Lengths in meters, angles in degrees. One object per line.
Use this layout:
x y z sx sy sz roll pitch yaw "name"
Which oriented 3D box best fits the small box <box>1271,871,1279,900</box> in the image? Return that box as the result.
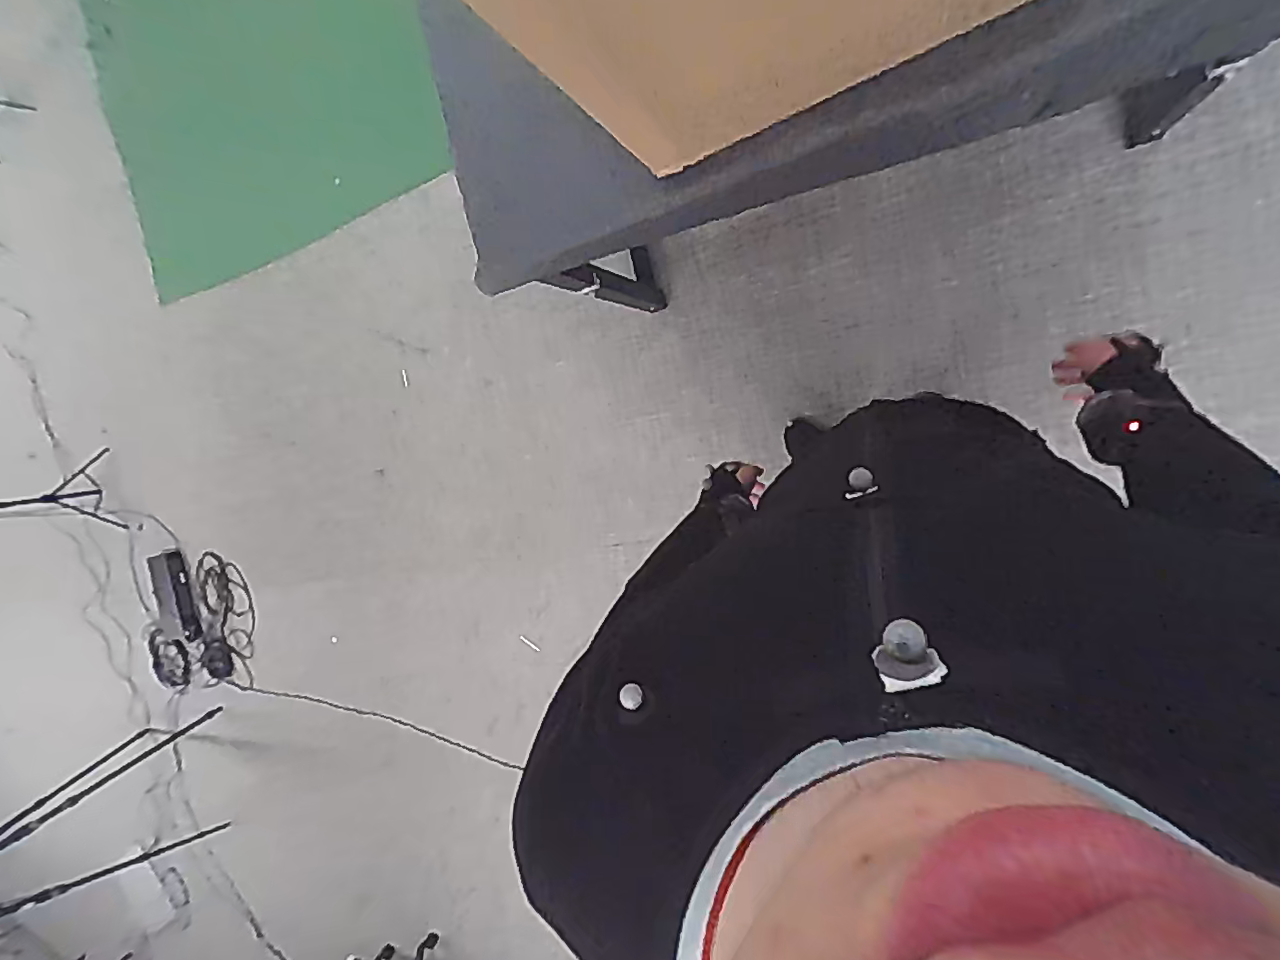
1.541 0.980 1.165 0.168 0.176 0.179 -24 92 26 "small box"
